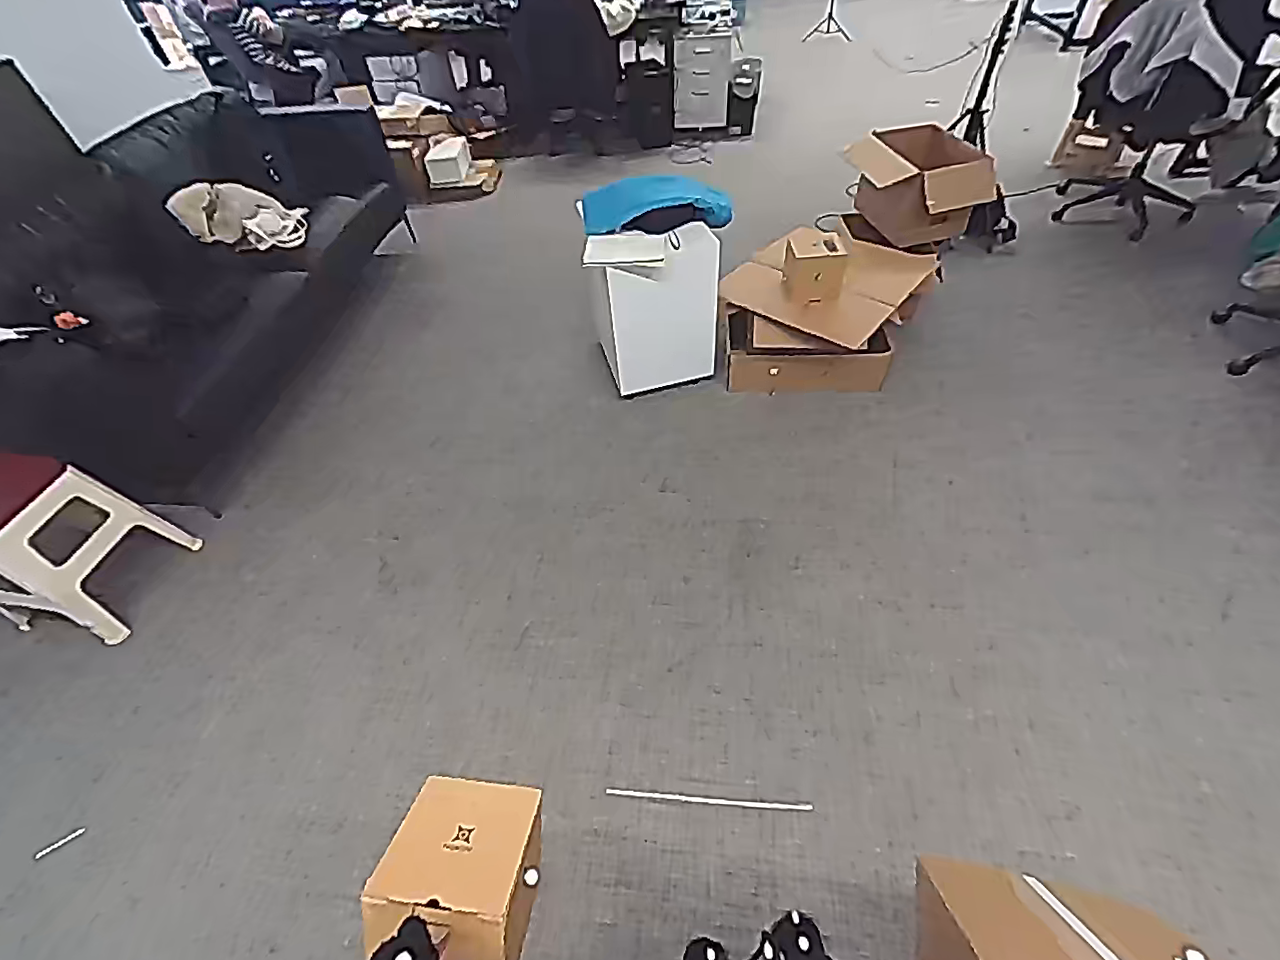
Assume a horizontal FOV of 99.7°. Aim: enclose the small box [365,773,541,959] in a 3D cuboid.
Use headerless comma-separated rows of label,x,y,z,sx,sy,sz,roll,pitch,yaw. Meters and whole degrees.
small box,-0.235,0.529,0.709,0.168,0.176,0.179,6,18,3
